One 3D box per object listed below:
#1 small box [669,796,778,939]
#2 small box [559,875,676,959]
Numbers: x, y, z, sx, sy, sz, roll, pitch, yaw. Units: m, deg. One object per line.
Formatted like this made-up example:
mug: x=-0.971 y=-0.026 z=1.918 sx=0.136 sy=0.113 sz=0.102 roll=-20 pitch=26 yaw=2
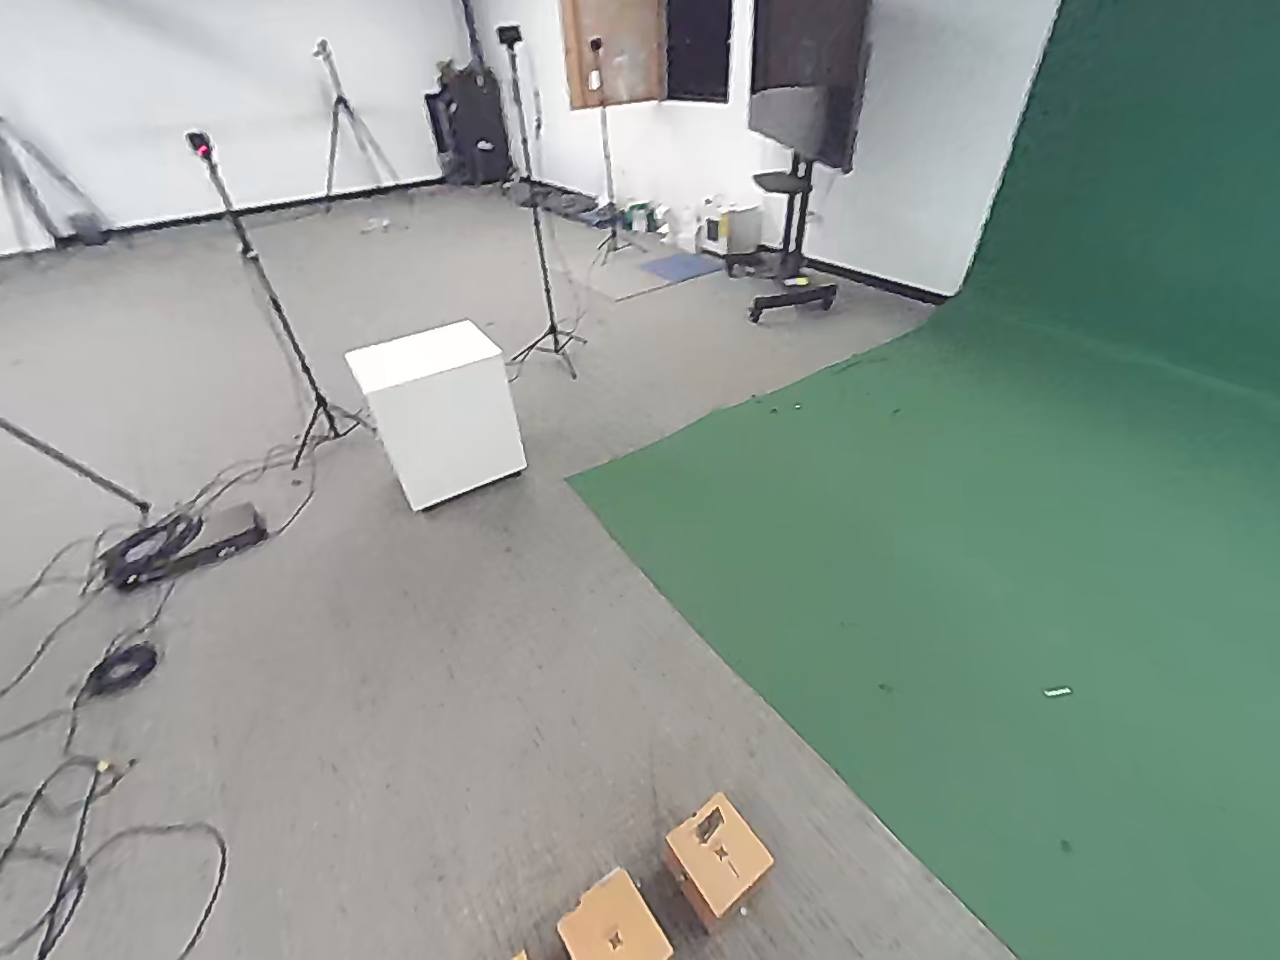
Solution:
small box: x=0.176 y=0.859 z=1.200 sx=0.168 sy=0.176 sz=0.179 roll=-25 pitch=45 yaw=-26
small box: x=-0.042 y=0.957 z=1.088 sx=0.168 sy=0.176 sz=0.179 roll=-26 pitch=44 yaw=-27
